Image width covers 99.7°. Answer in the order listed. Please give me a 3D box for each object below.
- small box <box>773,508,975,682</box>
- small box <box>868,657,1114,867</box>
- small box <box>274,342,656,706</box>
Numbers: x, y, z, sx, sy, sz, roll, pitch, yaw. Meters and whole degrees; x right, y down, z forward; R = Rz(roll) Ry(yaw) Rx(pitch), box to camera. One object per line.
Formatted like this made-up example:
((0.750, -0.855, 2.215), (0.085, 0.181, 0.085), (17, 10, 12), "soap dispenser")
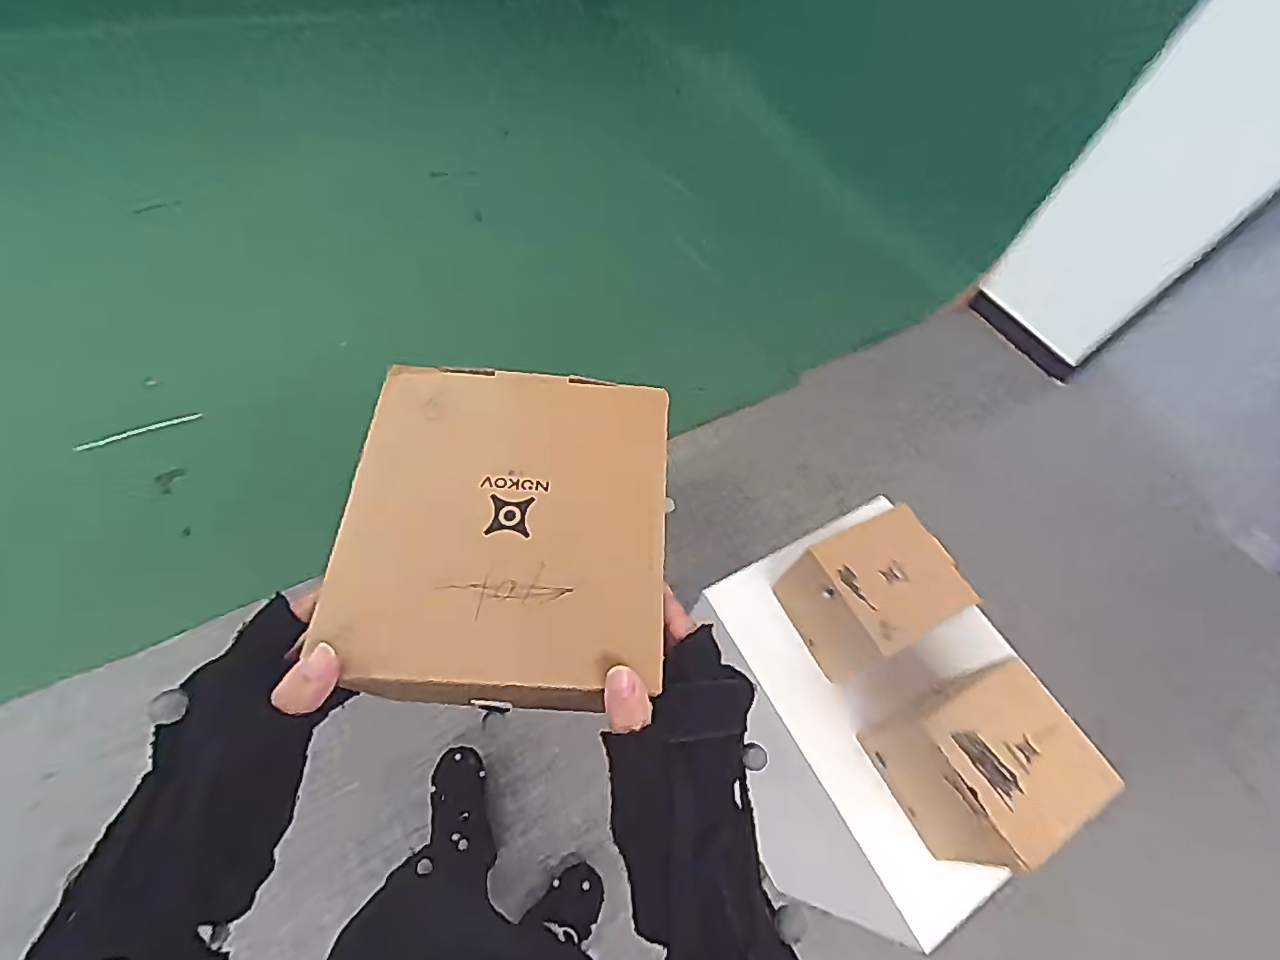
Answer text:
((0.328, 0.172, 0.795), (0.179, 0.176, 0.168), (-20, 62, -19), "small box")
((0.423, 0.359, 0.692), (0.179, 0.176, 0.168), (-21, 63, -20), "small box")
((-0.084, 0.041, 0.348), (0.168, 0.176, 0.179), (5, 63, -4), "small box")
